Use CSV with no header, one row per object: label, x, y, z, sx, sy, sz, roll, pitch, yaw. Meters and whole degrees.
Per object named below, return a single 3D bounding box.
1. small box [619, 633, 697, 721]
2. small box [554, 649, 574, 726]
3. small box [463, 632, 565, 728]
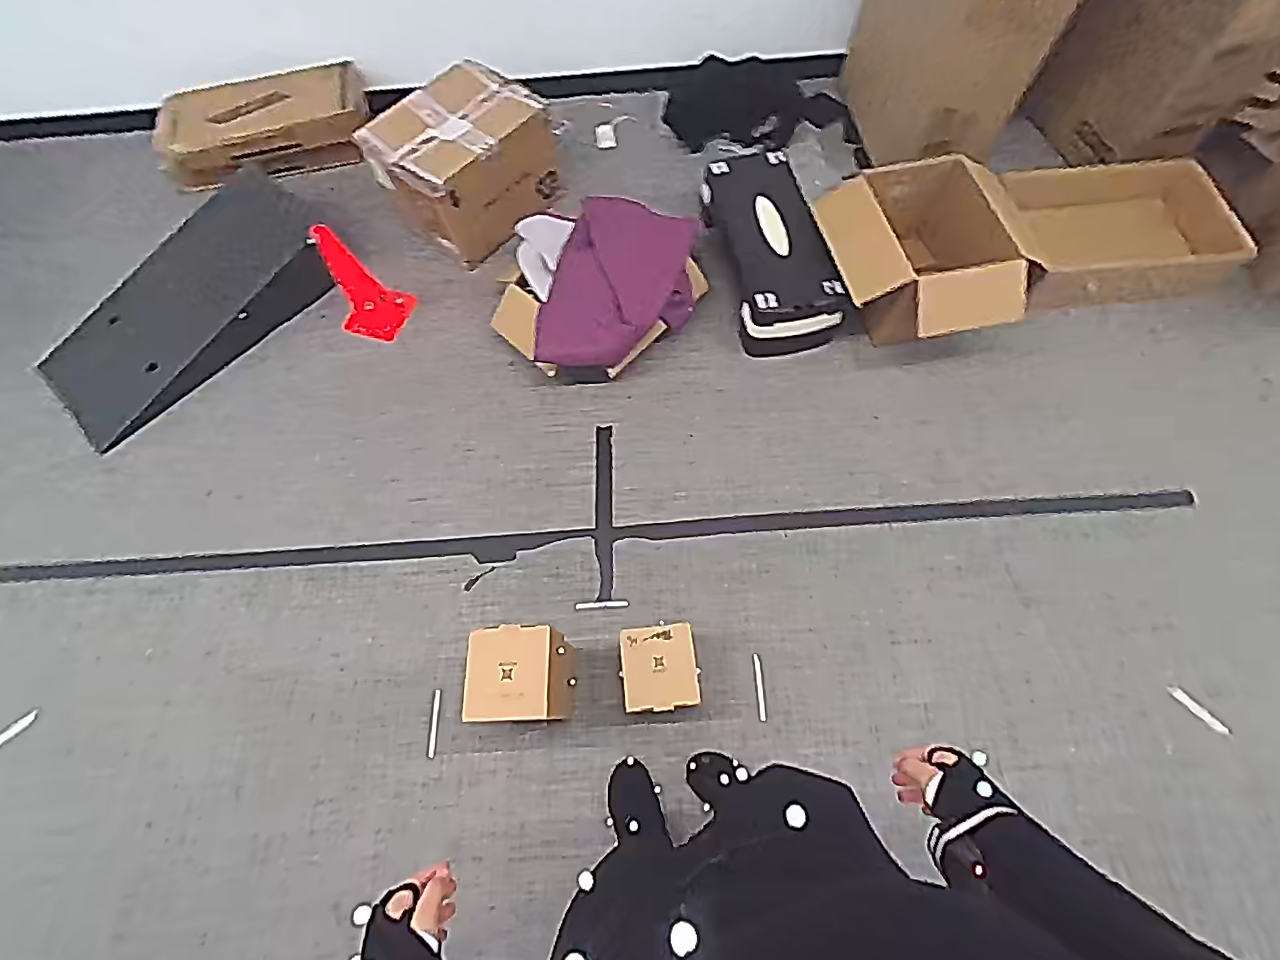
small box,0.043,0.465,1.278,0.168,0.176,0.179,-6,67,0
small box,-0.254,0.490,1.278,0.179,0.176,0.168,-2,66,2
small box,-0.254,0.421,1.132,0.168,0.176,0.179,-3,67,2
